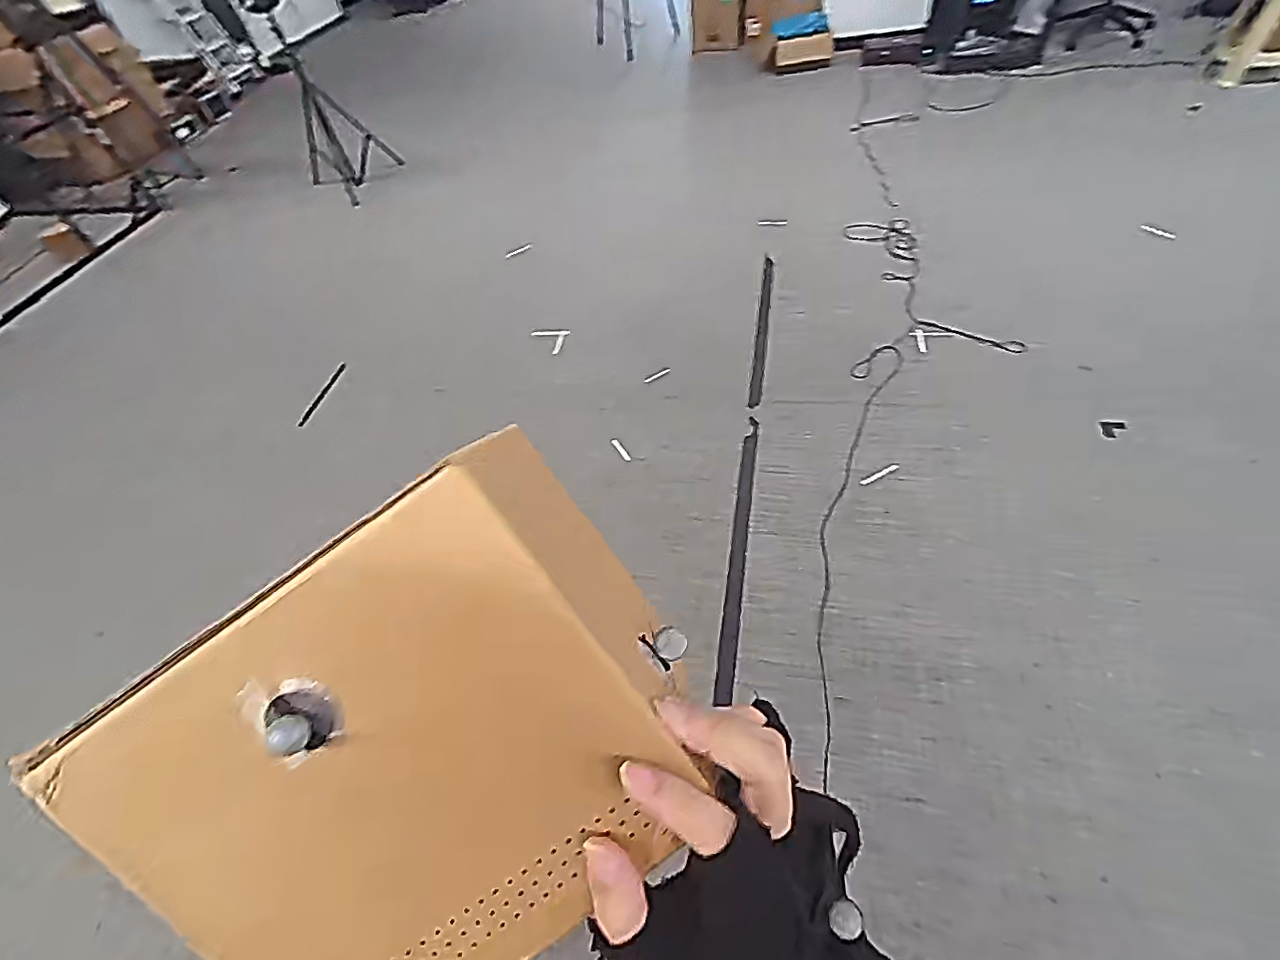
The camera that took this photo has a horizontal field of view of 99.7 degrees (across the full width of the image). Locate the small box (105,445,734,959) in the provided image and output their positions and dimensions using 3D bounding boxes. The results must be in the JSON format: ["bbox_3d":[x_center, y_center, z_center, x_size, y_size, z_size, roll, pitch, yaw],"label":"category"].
[{"bbox_3d":[-0.081,0.104,0.280,0.179,0.176,0.168,-34,11,0],"label":"small box"}]
